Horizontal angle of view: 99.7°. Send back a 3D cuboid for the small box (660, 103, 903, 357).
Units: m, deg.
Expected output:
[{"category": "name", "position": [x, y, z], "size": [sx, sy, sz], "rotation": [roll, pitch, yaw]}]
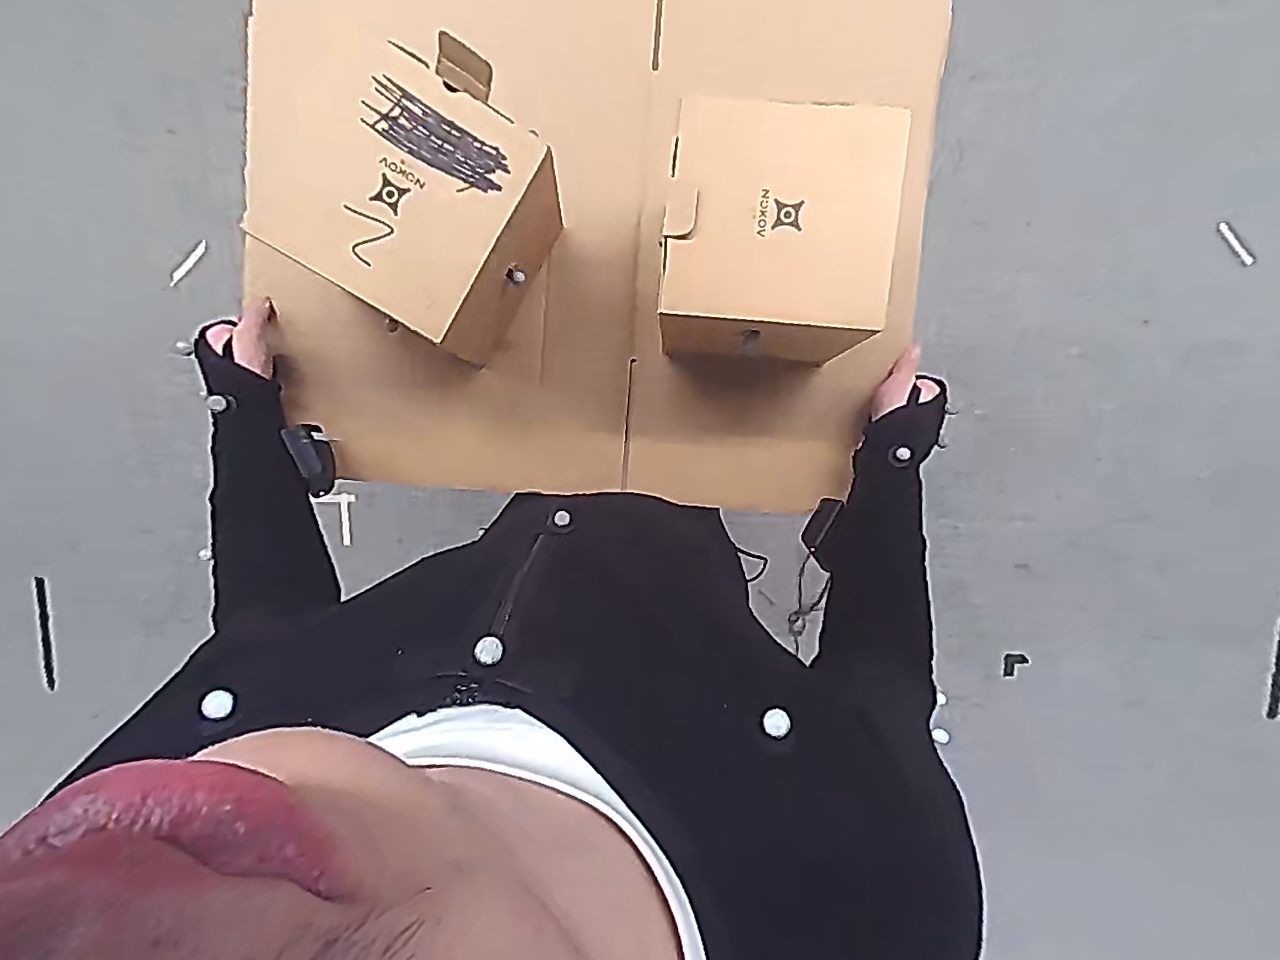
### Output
[{"category": "small box", "position": [0.116, -0.214, 0.508], "size": [0.179, 0.176, 0.168], "rotation": [6, 94, 4]}]
